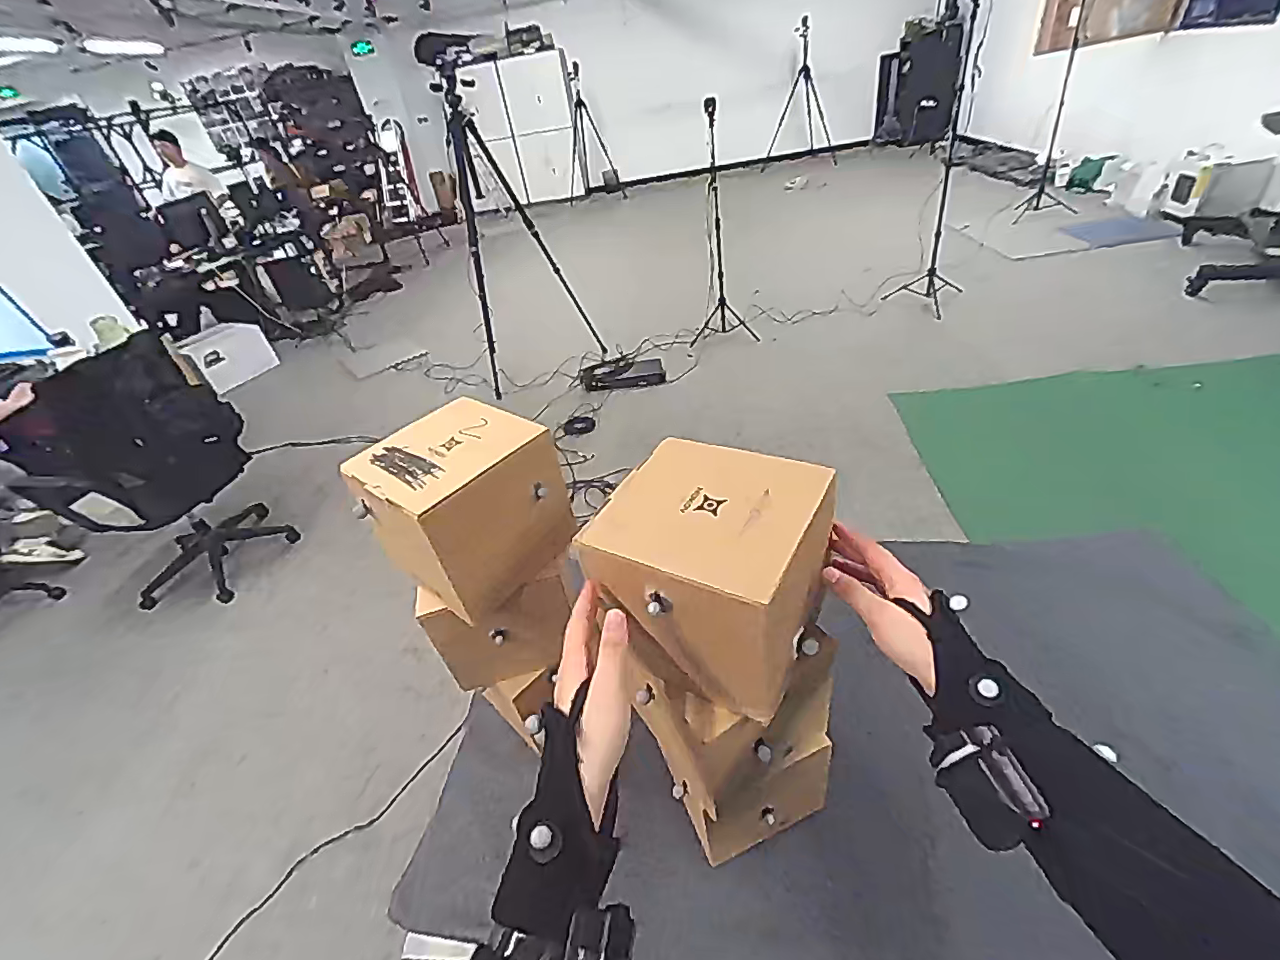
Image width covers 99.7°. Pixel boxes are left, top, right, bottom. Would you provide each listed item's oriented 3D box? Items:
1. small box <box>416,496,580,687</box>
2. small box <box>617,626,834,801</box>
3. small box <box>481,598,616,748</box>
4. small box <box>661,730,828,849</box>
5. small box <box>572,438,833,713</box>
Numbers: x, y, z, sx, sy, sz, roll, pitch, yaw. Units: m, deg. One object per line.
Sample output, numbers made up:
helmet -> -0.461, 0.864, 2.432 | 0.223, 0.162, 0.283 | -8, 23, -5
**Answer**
small box -> -0.188, 0.155, 0.753 | 0.179, 0.176, 0.168 | -17, 38, -6
small box -> 0.090, 0.218, 0.601 | 0.168, 0.176, 0.179 | -27, 39, -20
small box -> -0.162, 0.280, 0.856 | 0.179, 0.176, 0.168 | 25, 50, 38
small box -> 0.122, 0.341, 0.702 | 0.168, 0.176, 0.179 | -20, 37, -12
small box -> 0.067, 0.084, 0.510 | 0.179, 0.176, 0.168 | 14, 44, 30
